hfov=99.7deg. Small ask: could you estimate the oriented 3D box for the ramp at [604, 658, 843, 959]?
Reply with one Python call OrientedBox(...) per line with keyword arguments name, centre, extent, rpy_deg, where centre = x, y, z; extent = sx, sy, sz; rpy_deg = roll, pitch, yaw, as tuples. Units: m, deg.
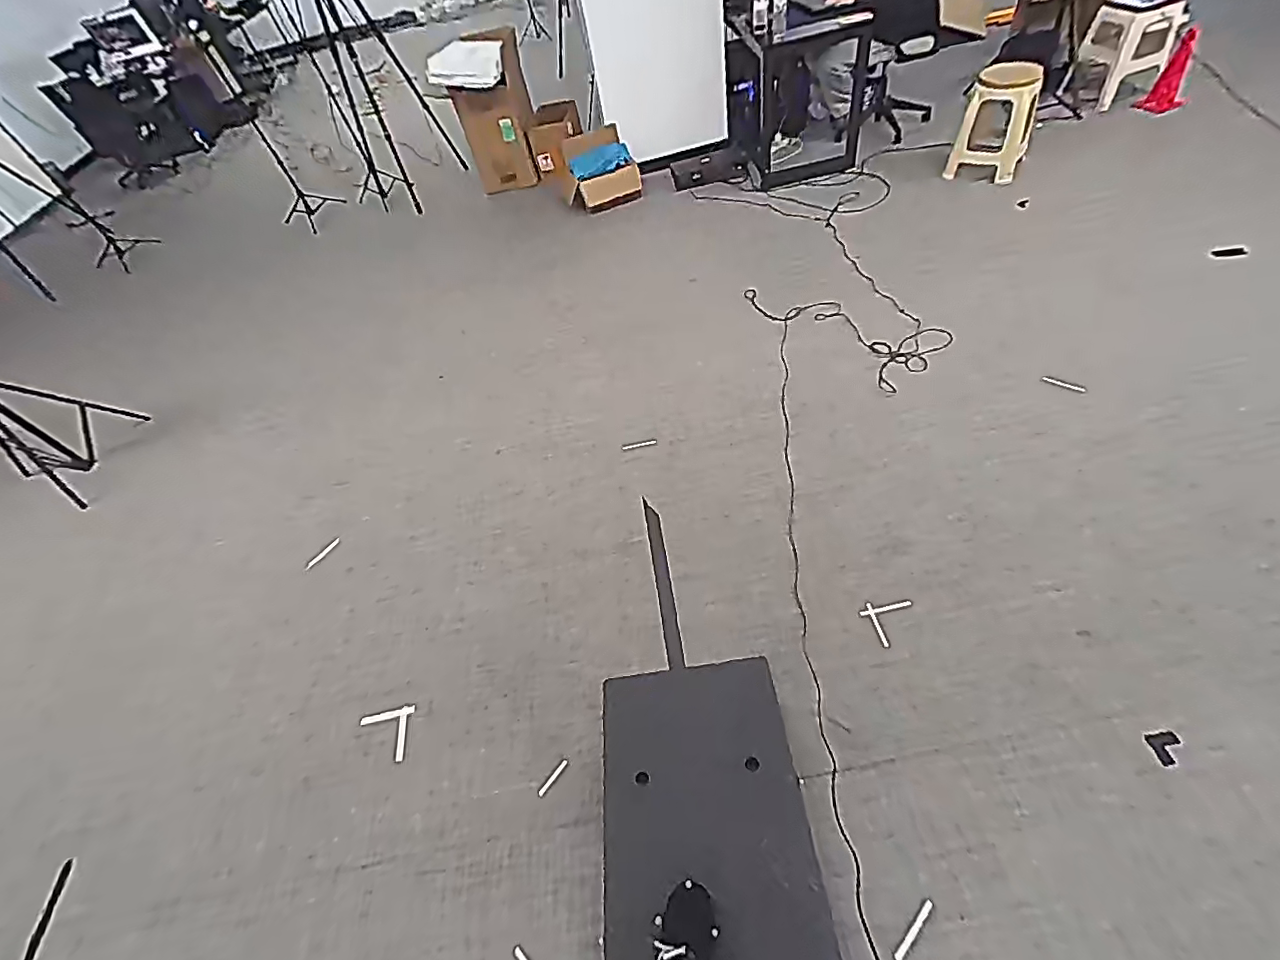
OrientedBox(name="ramp", centre=(0.156, 0.887, 1.223), extent=(0.509, 0.206, 0.991), rpy_deg=(-12, 50, 4))
